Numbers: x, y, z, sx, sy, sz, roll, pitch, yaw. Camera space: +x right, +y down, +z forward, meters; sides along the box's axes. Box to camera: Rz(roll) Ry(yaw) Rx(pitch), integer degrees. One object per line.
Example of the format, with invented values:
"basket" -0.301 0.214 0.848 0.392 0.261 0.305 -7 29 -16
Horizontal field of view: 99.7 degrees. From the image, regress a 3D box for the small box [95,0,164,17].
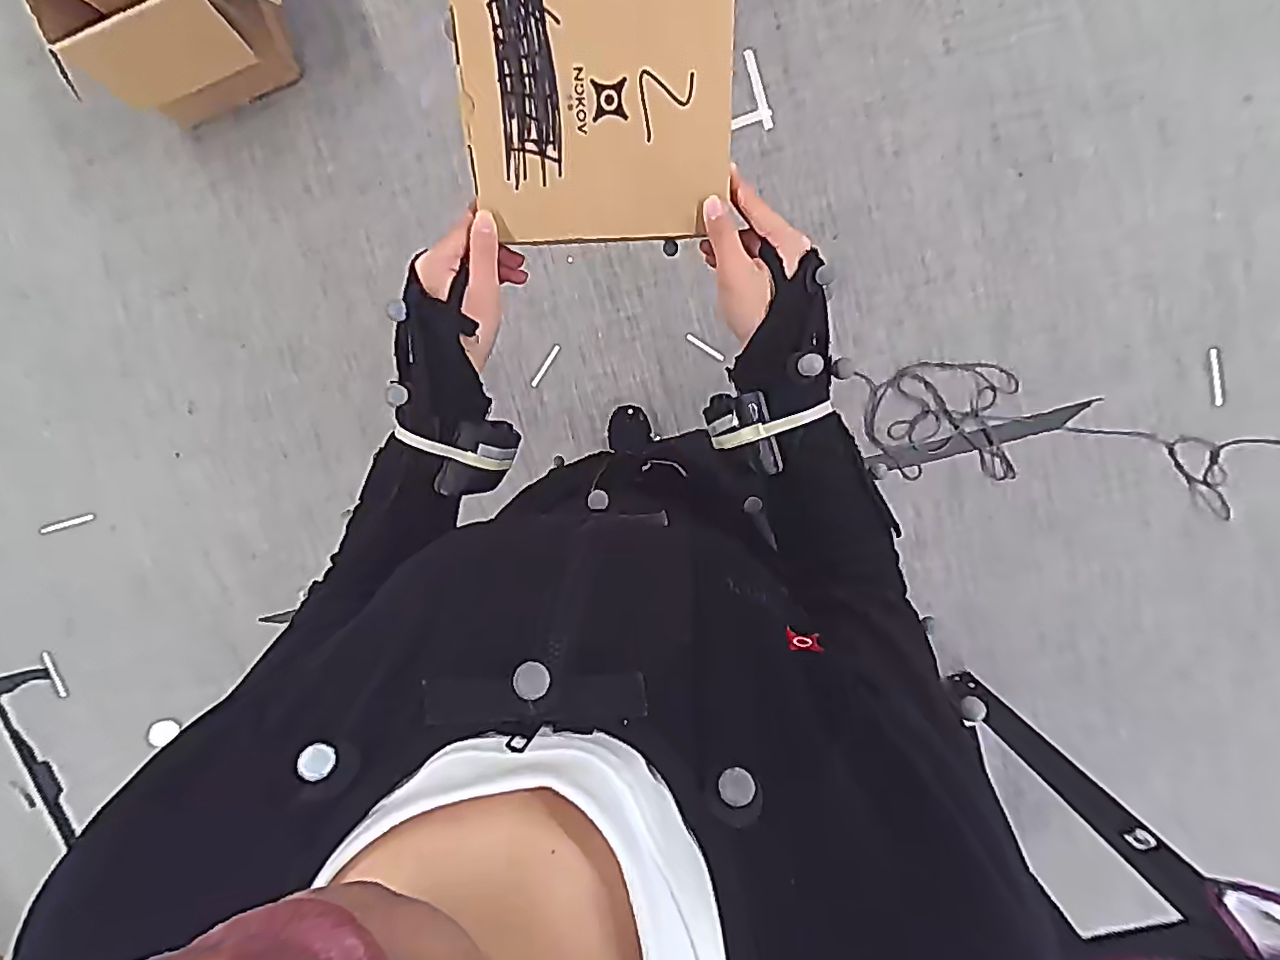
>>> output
"small box" -1.010 -1.020 0.992 0.168 0.176 0.179 -17 98 5
